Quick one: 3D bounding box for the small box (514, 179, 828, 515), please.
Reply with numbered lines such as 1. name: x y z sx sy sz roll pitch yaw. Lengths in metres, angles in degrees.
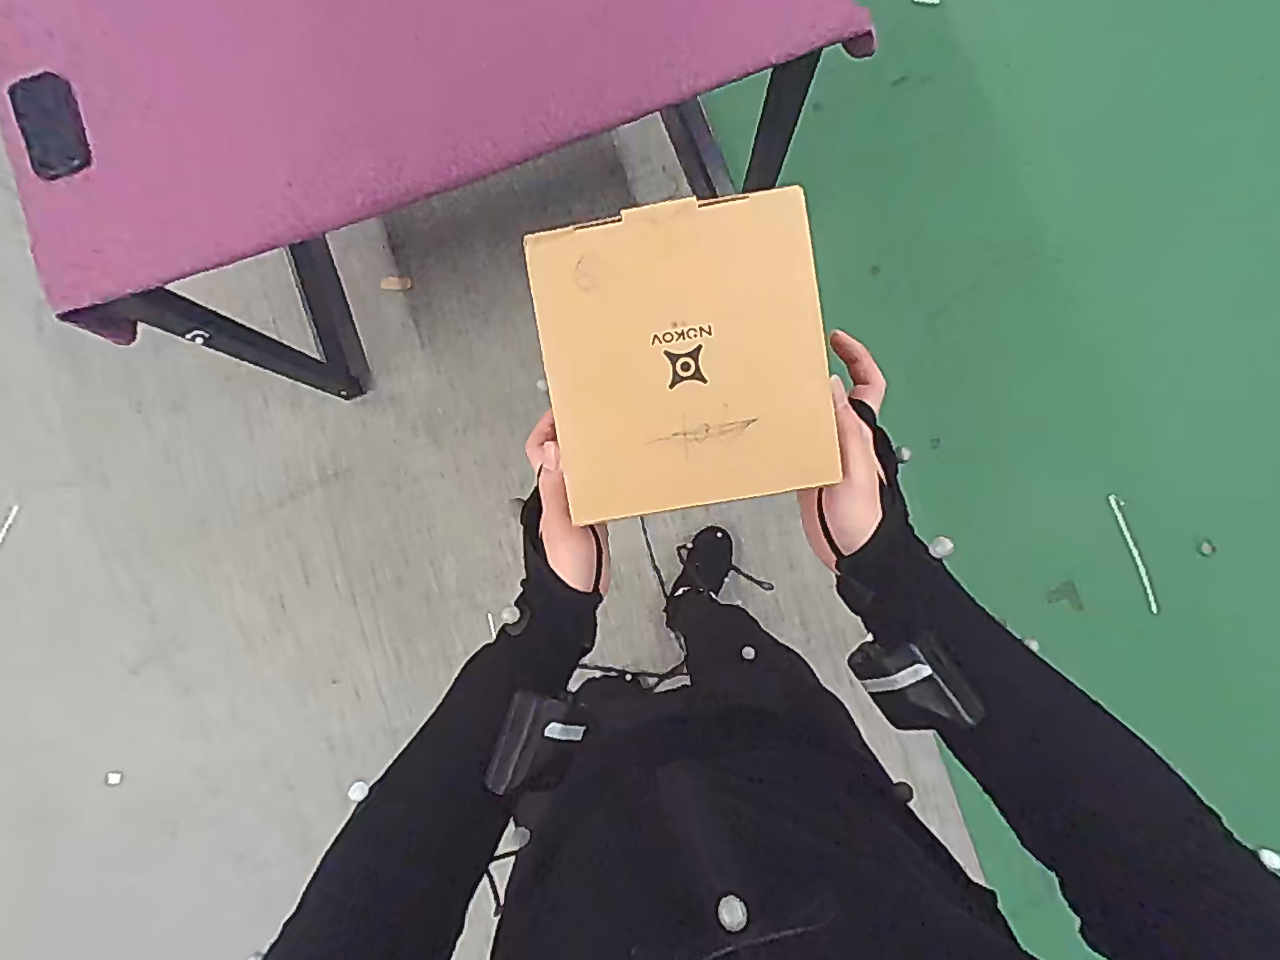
1. small box: 0.021 -0.081 0.395 0.168 0.176 0.179 -9 95 3
